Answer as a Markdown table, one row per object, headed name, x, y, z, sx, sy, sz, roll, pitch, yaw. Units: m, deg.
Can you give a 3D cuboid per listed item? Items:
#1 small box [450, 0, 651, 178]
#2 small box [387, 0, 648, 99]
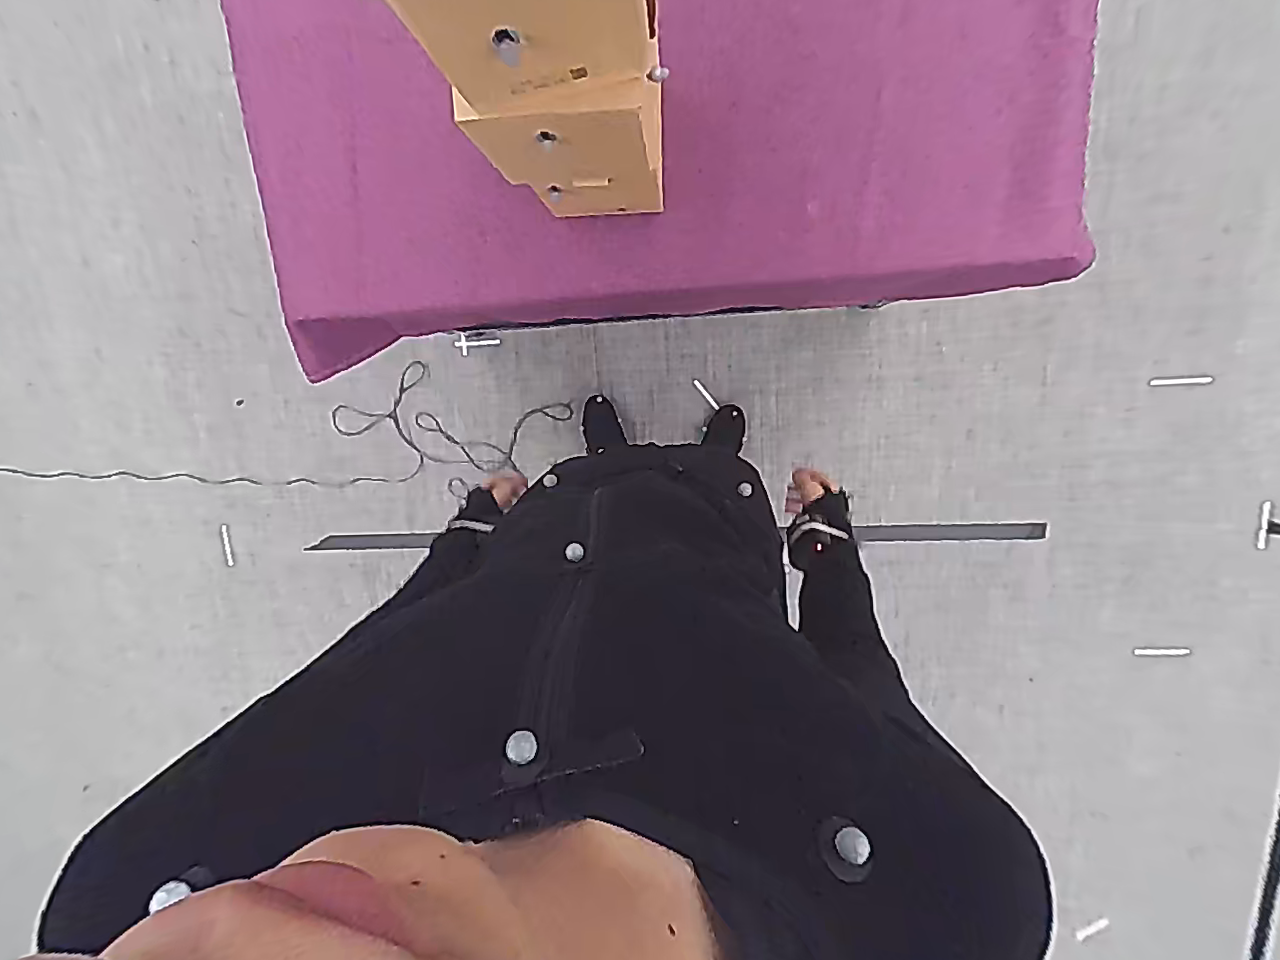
| name | x | y | z | sx | sy | sz | roll | pitch | yaw |
| --- | --- | --- | --- | --- | --- | --- | --- | --- | --- |
| small box | -0.082 | -0.430 | 0.558 | 0.179 | 0.176 | 0.168 | 0 | 101 | 4 |
| small box | -0.091 | -0.416 | 0.395 | 0.168 | 0.176 | 0.179 | -8 | 99 | 6 |
